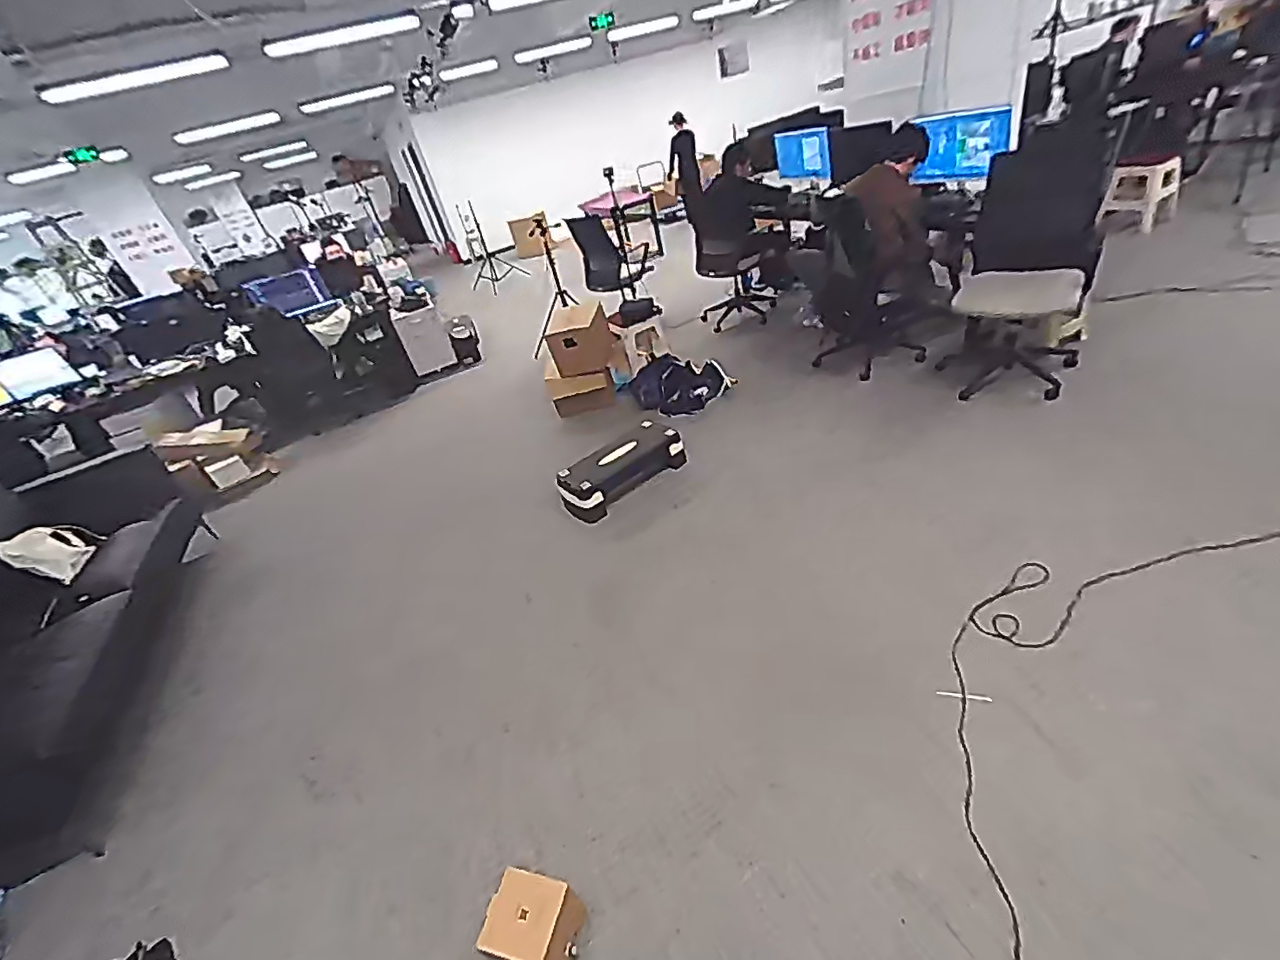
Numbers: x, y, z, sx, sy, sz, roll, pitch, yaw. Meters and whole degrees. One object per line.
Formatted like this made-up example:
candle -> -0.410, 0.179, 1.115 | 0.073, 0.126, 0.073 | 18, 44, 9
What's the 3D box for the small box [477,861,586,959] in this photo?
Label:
small box -> -0.254, 1.063, 1.306 | 0.179, 0.176, 0.168 | -1, 37, 20
